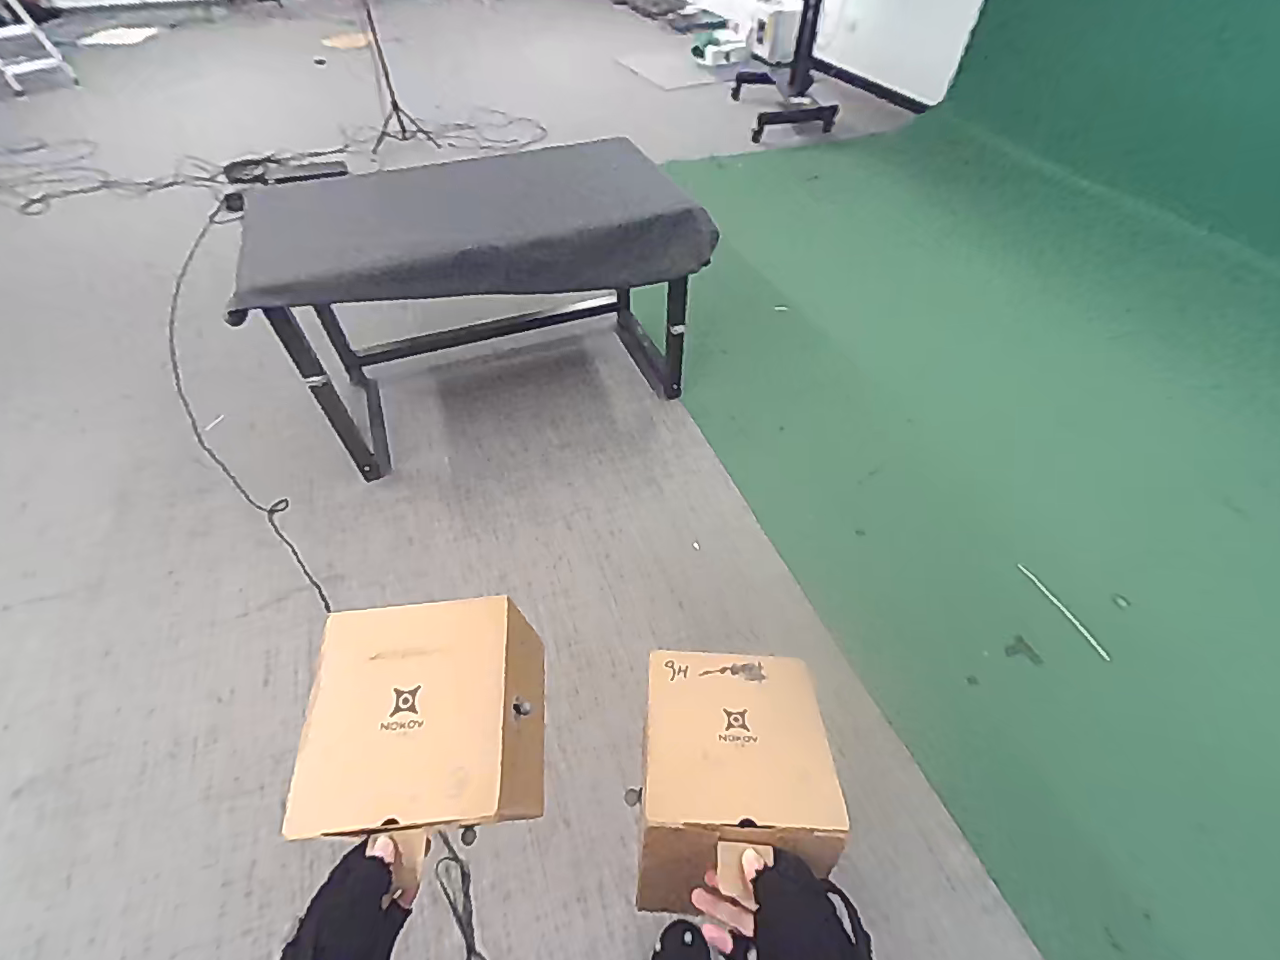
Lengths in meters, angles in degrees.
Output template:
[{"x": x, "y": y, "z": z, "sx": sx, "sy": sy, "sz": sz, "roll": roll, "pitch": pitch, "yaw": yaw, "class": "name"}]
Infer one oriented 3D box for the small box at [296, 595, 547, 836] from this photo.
[{"x": -0.188, "y": 0.230, "z": 0.527, "sx": 0.168, "sy": 0.176, "sz": 0.179, "roll": -7, "pitch": 59, "yaw": 0, "class": "small box"}]
